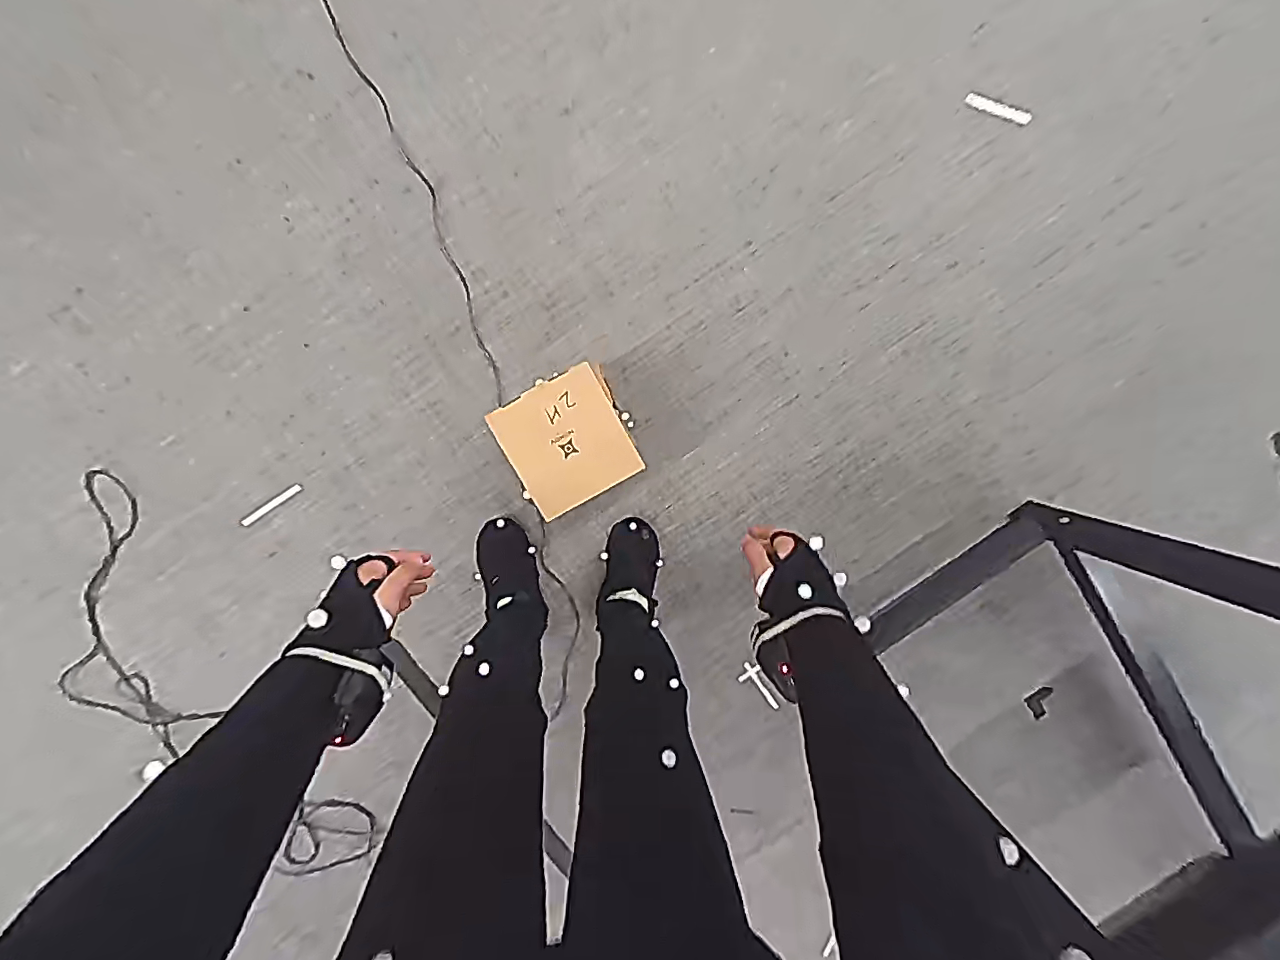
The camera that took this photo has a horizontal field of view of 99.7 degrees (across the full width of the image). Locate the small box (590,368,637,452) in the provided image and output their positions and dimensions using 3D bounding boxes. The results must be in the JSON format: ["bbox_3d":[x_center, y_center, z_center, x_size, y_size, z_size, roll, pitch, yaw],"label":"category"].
[{"bbox_3d":[-0.121,-0.097,1.002,0.179,0.176,0.168,-26,100,1],"label":"small box"}]

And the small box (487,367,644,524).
[{"bbox_3d":[-0.109,-0.059,0.842,0.168,0.176,0.179,-29,100,0],"label":"small box"}]
